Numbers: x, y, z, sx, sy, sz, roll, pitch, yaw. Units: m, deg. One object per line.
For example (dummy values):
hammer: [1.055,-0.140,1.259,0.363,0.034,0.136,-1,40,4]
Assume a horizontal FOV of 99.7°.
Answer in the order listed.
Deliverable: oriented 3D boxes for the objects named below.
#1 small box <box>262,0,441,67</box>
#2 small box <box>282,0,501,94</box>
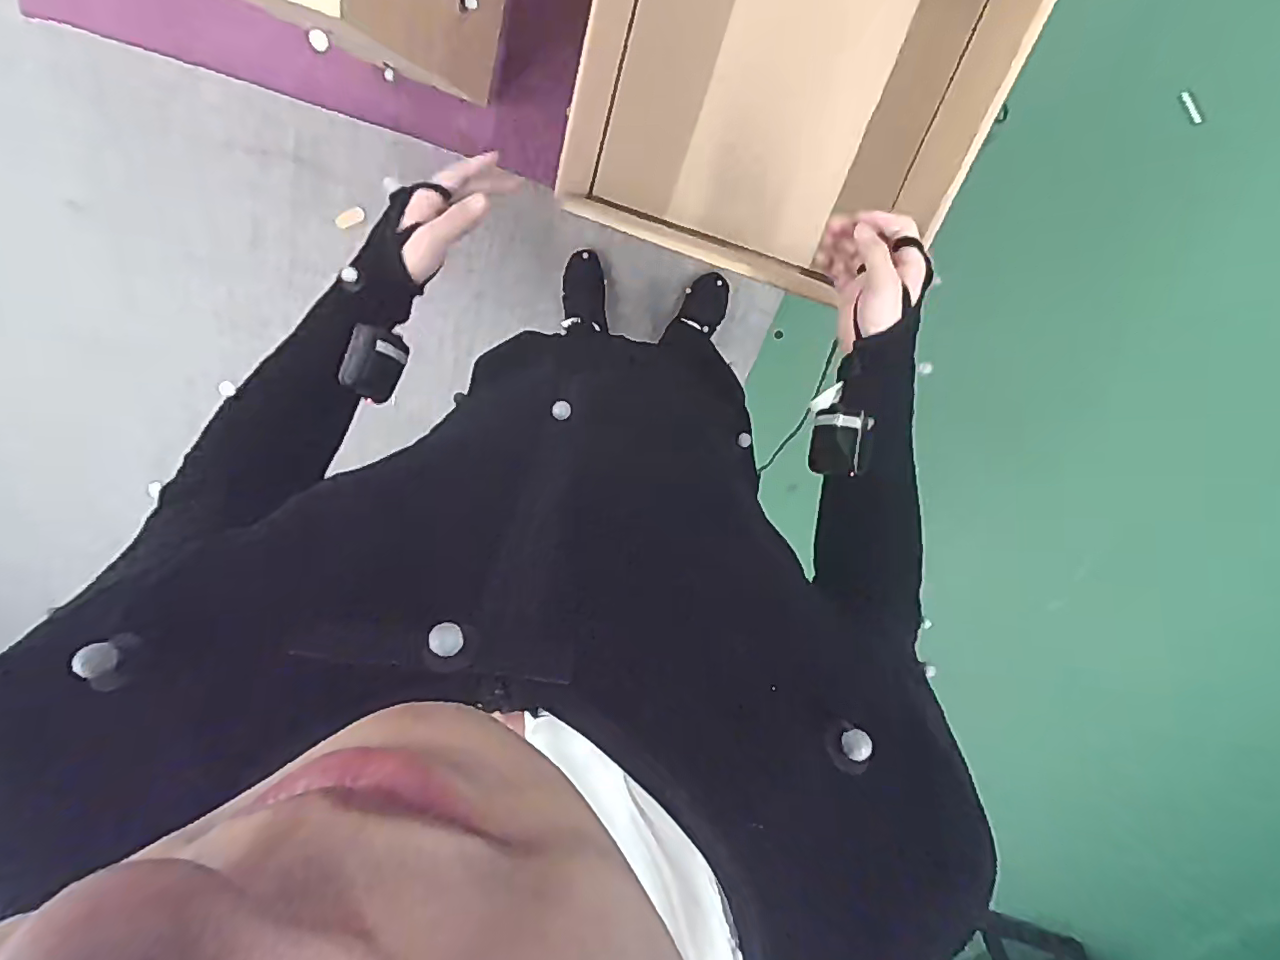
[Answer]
small box: [-0.266,-0.481,0.436,0.168,0.176,0.179,19,116,-4]
small box: [-0.256,-0.553,0.583,0.168,0.176,0.179,19,116,-5]
